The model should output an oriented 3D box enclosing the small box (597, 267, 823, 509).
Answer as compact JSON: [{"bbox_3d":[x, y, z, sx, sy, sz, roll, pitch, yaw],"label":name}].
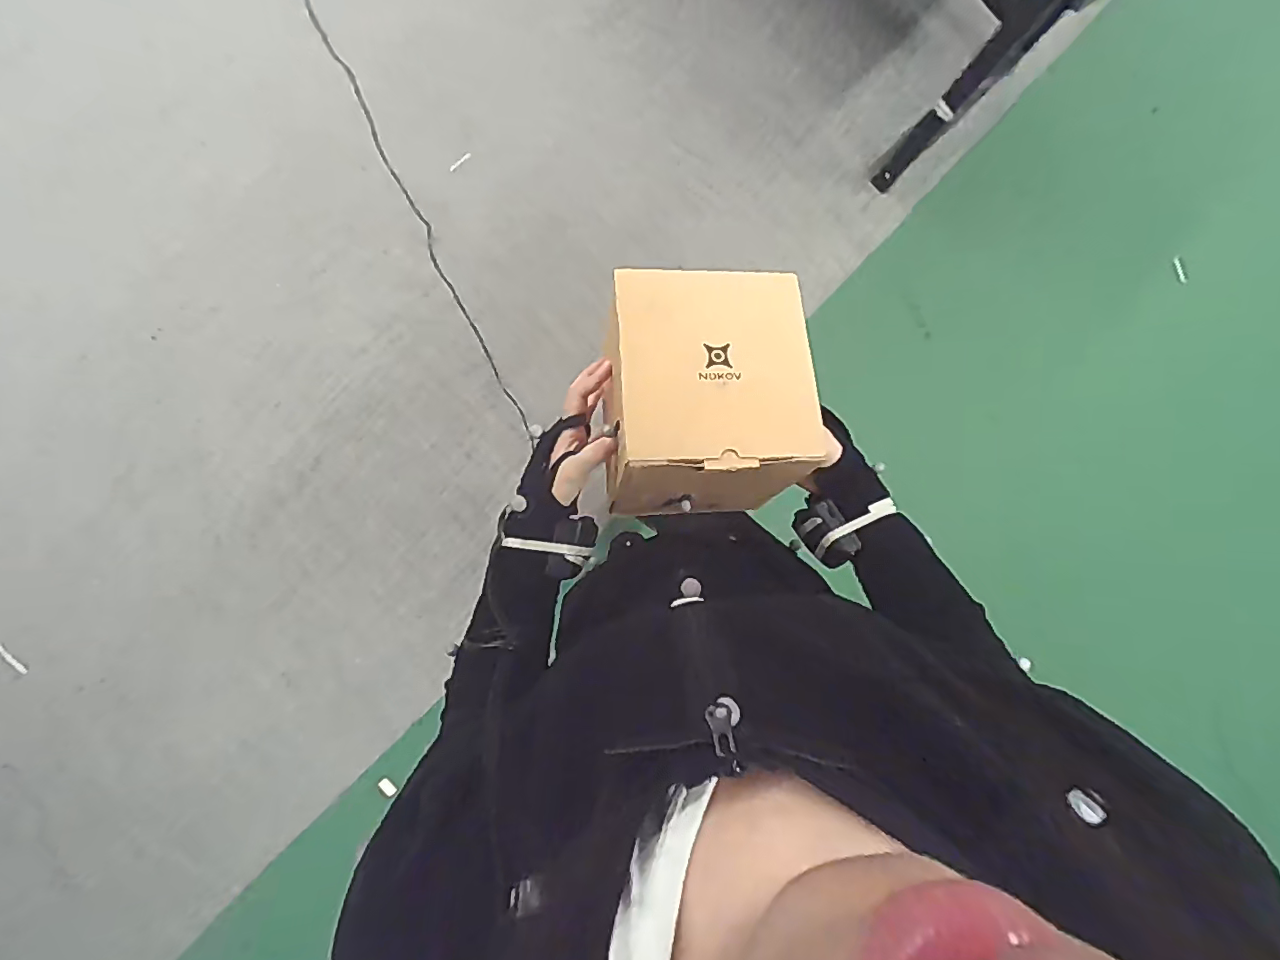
[{"bbox_3d":[0.050,-0.078,0.525,0.168,0.176,0.179,-3,74,-10],"label":"small box"}]
